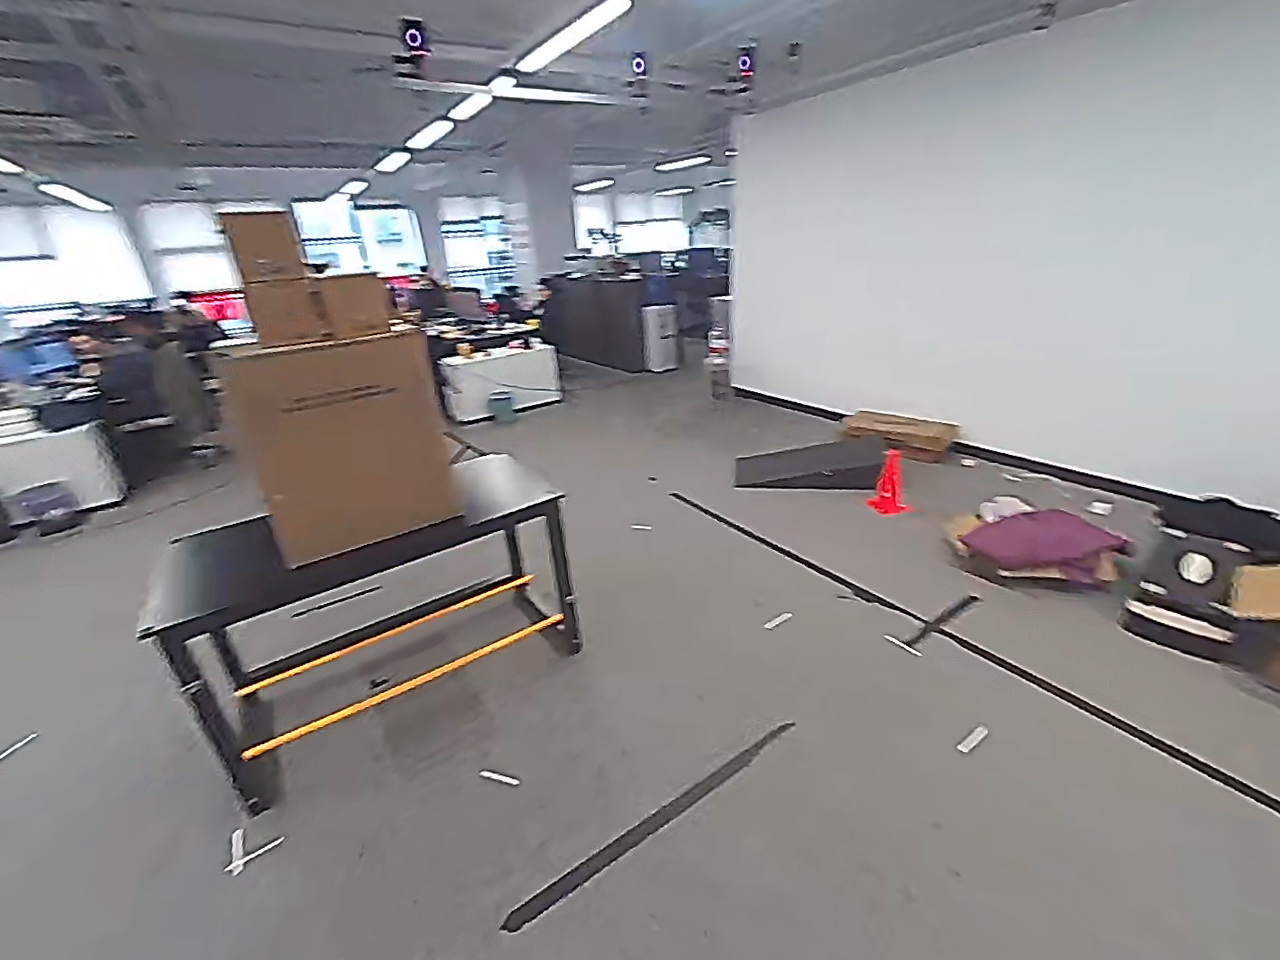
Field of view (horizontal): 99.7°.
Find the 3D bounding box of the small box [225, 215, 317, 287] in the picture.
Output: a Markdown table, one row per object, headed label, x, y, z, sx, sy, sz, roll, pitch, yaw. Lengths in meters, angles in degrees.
| label | x | y | z | sx | sy | sz | roll | pitch | yaw |
| --- | --- | --- | --- | --- | --- | --- | --- | --- | --- |
| small box | -1.000 | -0.621 | 1.470 | 0.168 | 0.176 | 0.179 | -19 | 30 | -29 |
